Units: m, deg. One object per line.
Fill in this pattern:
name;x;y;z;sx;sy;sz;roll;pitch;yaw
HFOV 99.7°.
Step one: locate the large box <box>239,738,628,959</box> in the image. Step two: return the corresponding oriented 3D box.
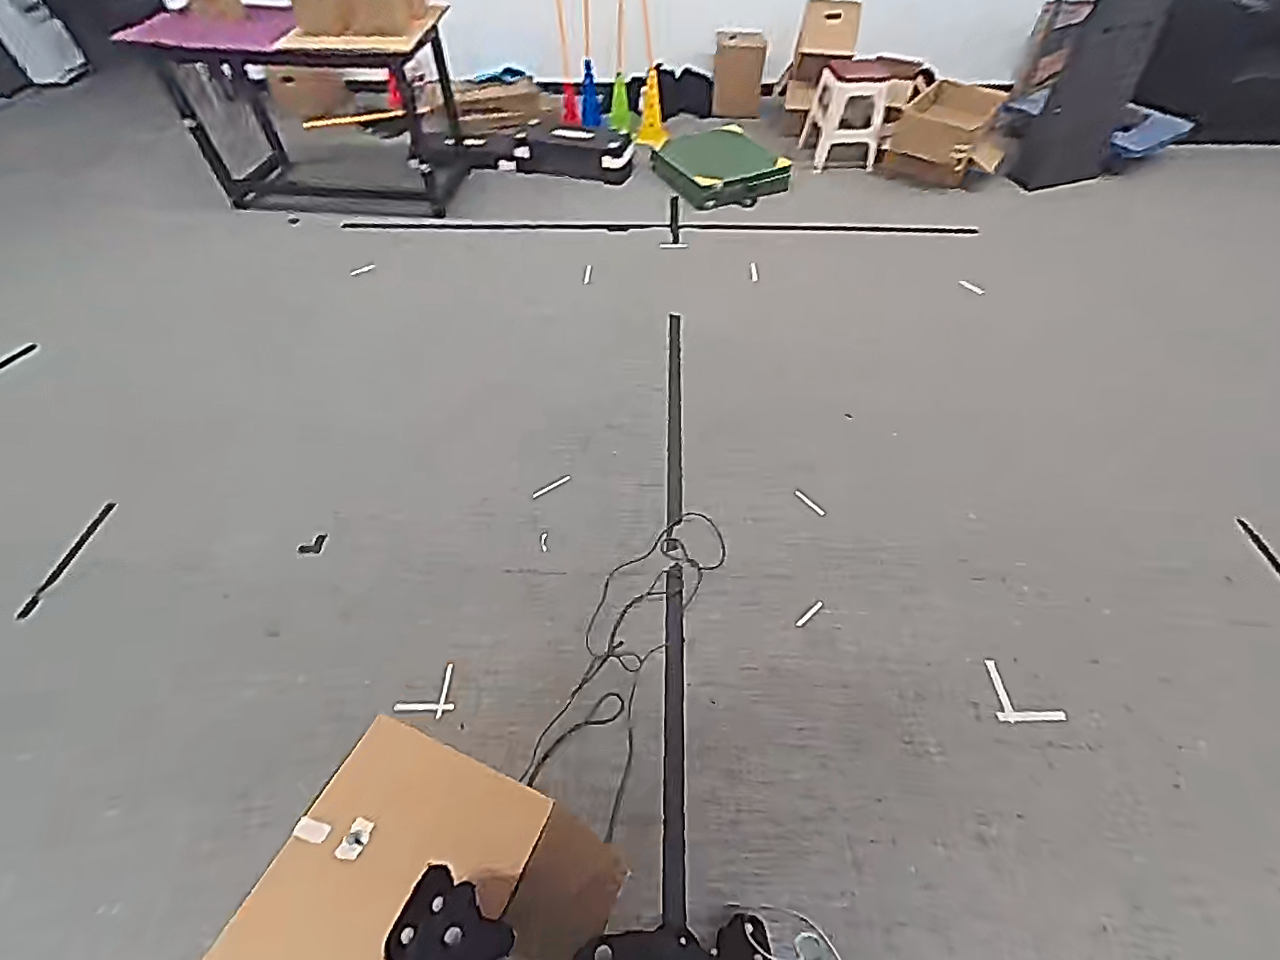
large box;-0.251;0.626;0.768;0.320;0.408;0.320;10;51;24
